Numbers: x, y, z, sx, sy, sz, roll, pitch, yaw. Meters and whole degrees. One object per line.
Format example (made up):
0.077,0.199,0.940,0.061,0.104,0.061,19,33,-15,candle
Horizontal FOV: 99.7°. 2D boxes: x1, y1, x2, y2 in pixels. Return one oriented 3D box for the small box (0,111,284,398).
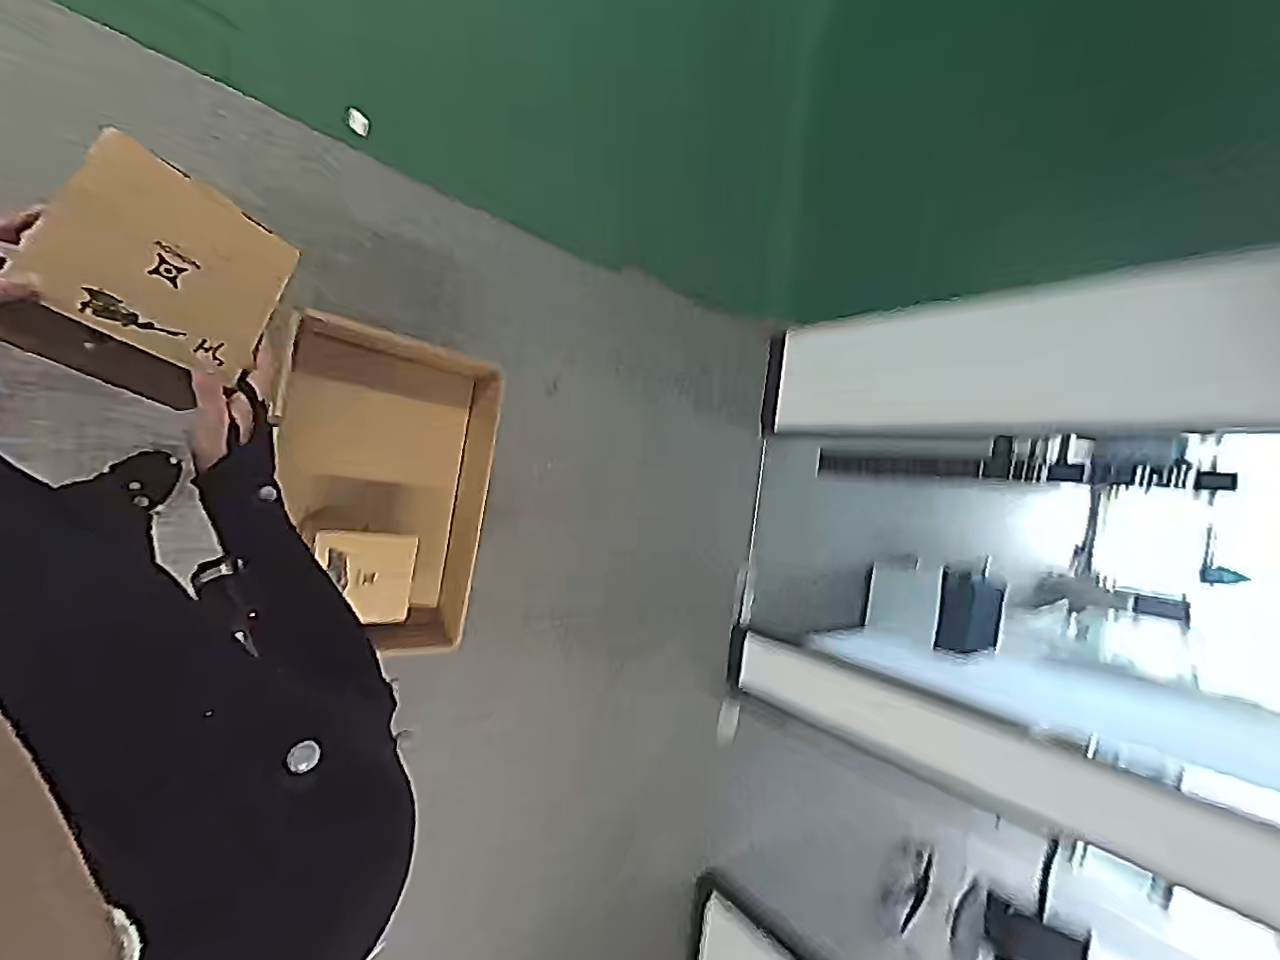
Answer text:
-0.502,-0.202,0.534,0.168,0.176,0.179,32,62,-47,small box
